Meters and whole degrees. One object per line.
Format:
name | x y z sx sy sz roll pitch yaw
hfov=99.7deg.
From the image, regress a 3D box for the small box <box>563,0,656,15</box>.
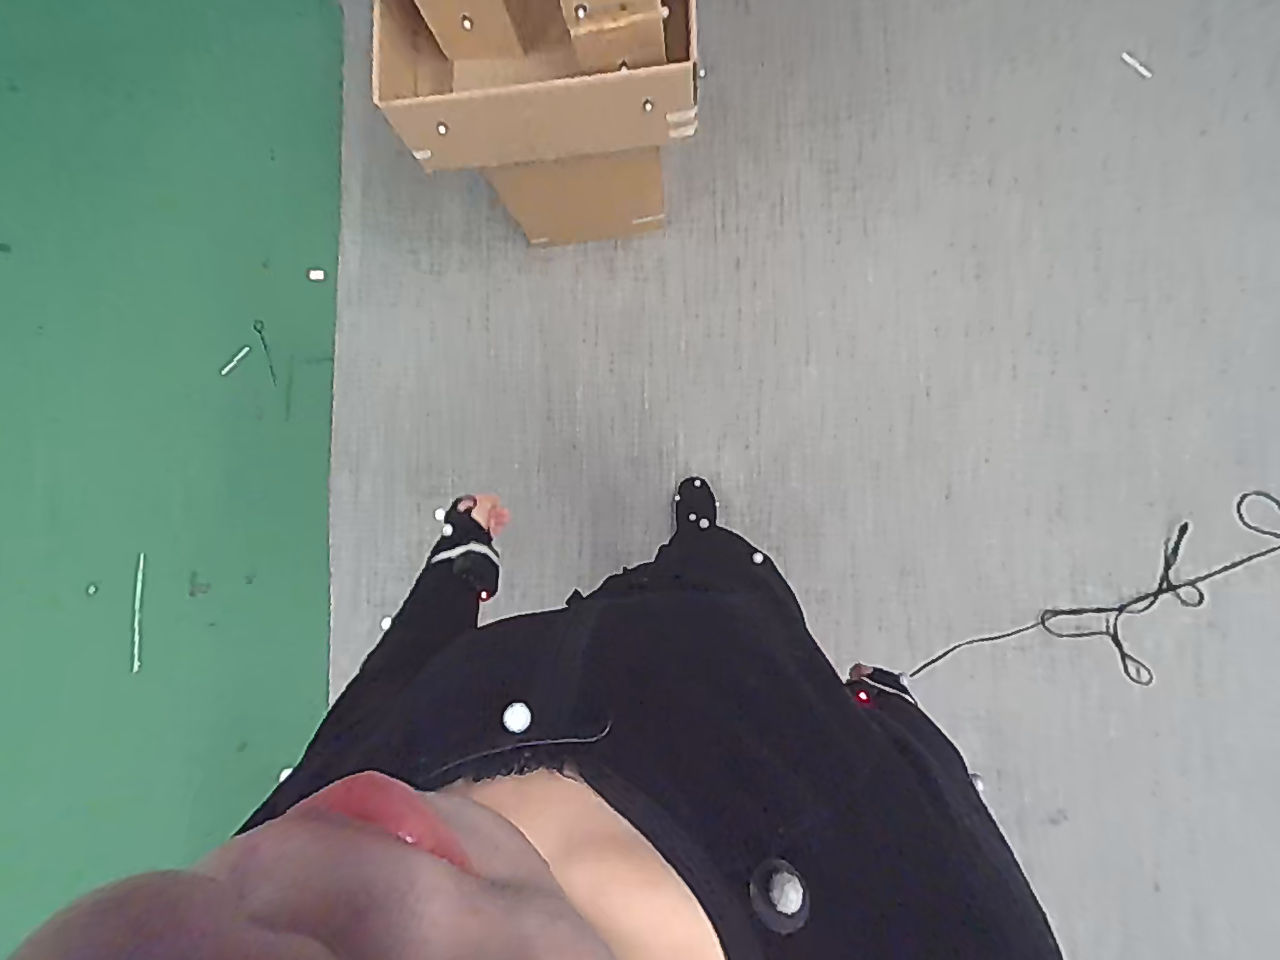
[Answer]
small box | -0.062 -0.892 0.861 0.168 0.176 0.179 -4 85 7
